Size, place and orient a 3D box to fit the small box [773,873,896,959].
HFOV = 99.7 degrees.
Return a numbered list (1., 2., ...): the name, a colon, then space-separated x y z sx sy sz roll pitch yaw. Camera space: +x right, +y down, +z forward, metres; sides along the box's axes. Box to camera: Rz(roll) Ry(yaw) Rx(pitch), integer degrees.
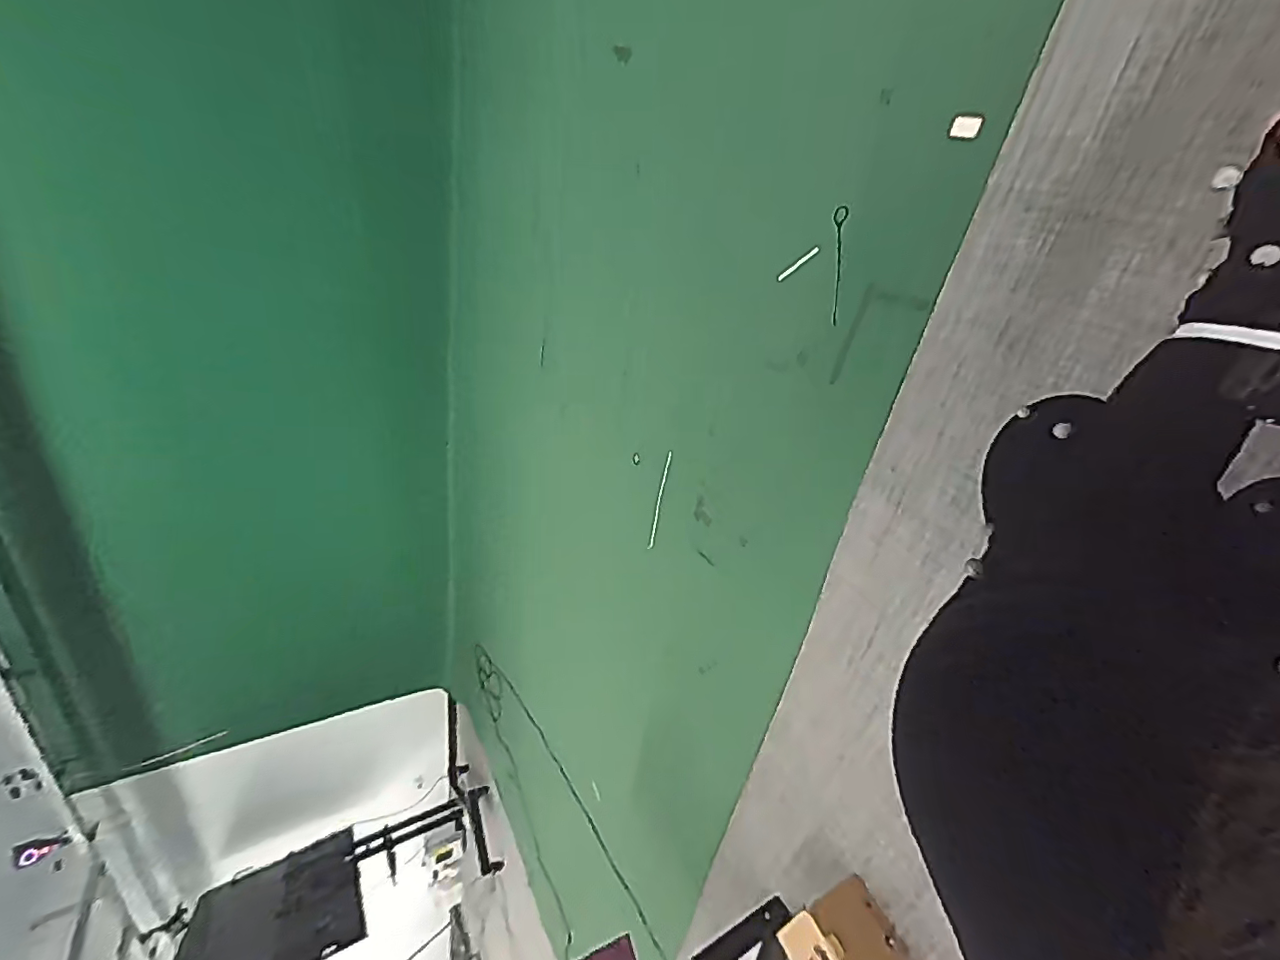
1. small box: 0.441 1.035 1.218 0.168 0.176 0.179 52 137 41
